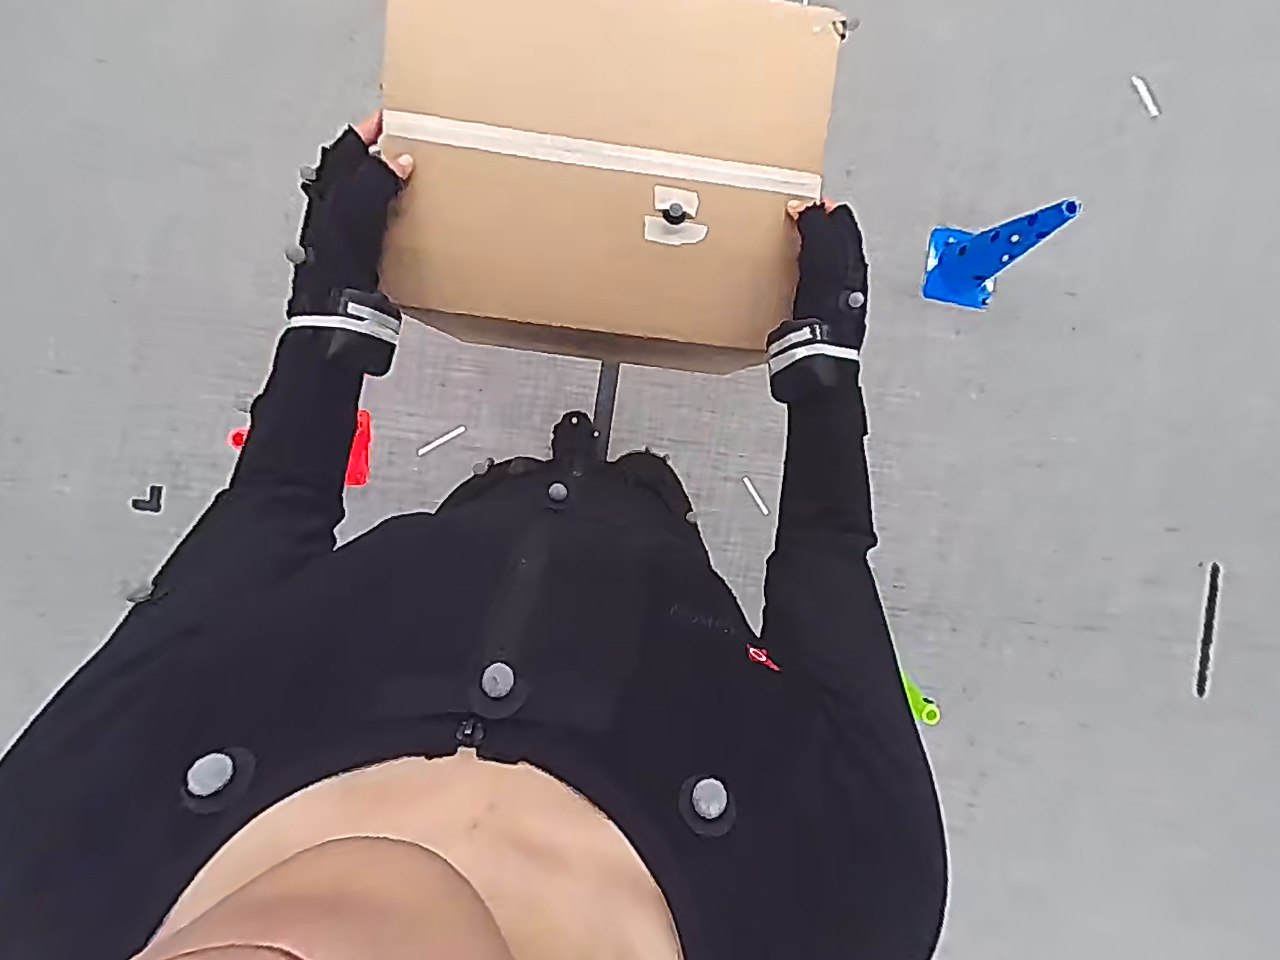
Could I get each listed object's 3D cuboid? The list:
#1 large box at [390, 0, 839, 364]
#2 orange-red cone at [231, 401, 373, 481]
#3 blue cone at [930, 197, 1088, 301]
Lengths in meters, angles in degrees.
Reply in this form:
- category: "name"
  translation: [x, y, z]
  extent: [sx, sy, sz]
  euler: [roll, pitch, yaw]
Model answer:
- category: "large box"
  translation: [-0.038, -0.327, 0.652]
  extent: [0.408, 0.320, 0.320]
  euler: [6, 98, -6]
- category: "orange-red cone"
  translation: [-0.794, -0.092, 1.239]
  extent: [0.198, 0.360, 0.199]
  euler: [5, 93, -3]
- category: "blue cone"
  translation: [0.920, -0.598, 1.343]
  extent: [0.192, 0.380, 0.193]
  euler: [11, 91, -5]
